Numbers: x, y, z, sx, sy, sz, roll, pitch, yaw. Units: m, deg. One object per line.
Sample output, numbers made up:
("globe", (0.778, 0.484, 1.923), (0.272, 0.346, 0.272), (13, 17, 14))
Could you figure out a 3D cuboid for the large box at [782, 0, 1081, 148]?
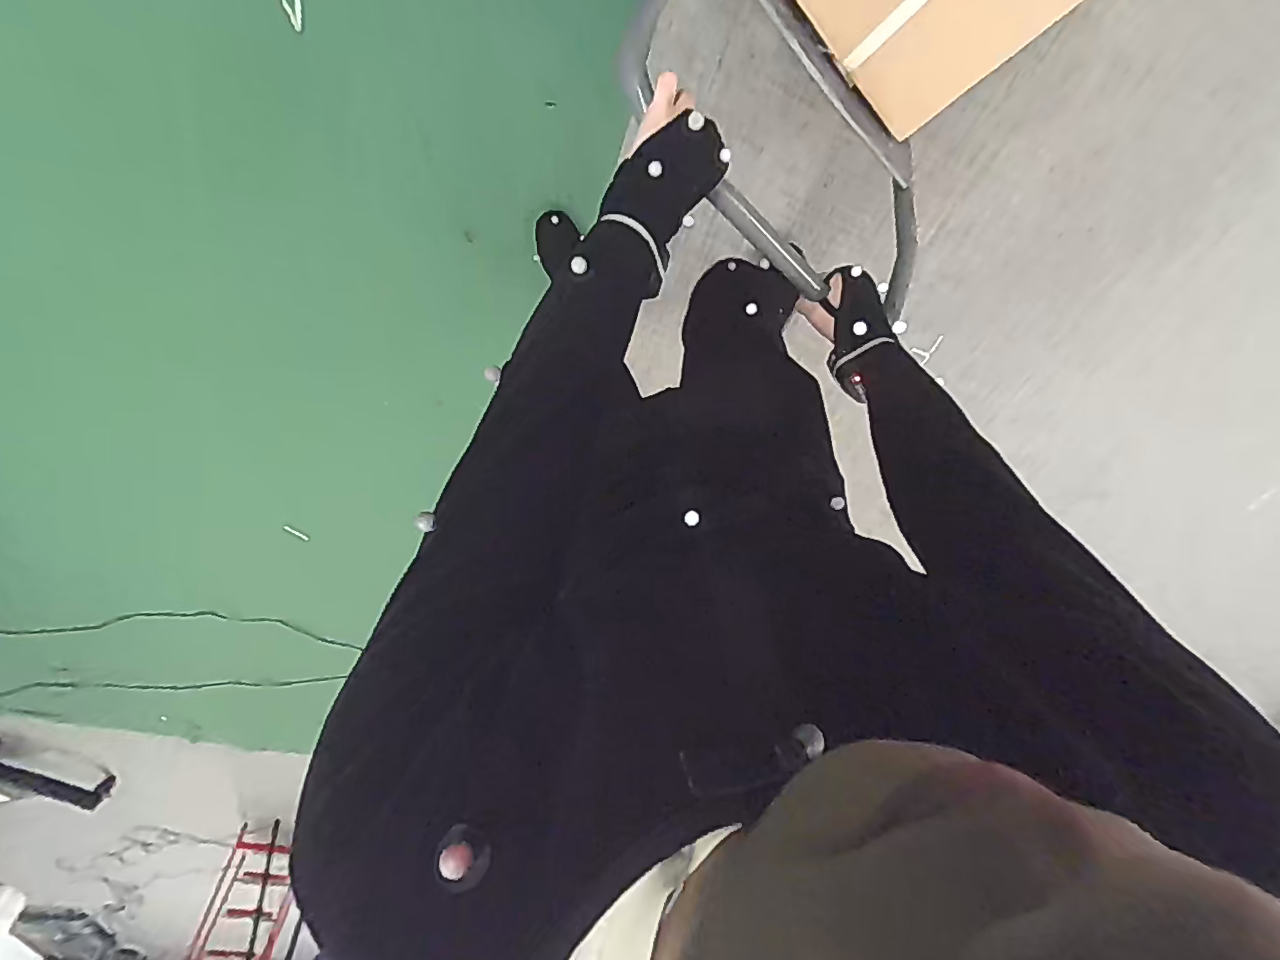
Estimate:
("large box", (0.443, -0.795, 0.754), (0.320, 0.320, 0.408), (30, 142, -30))
